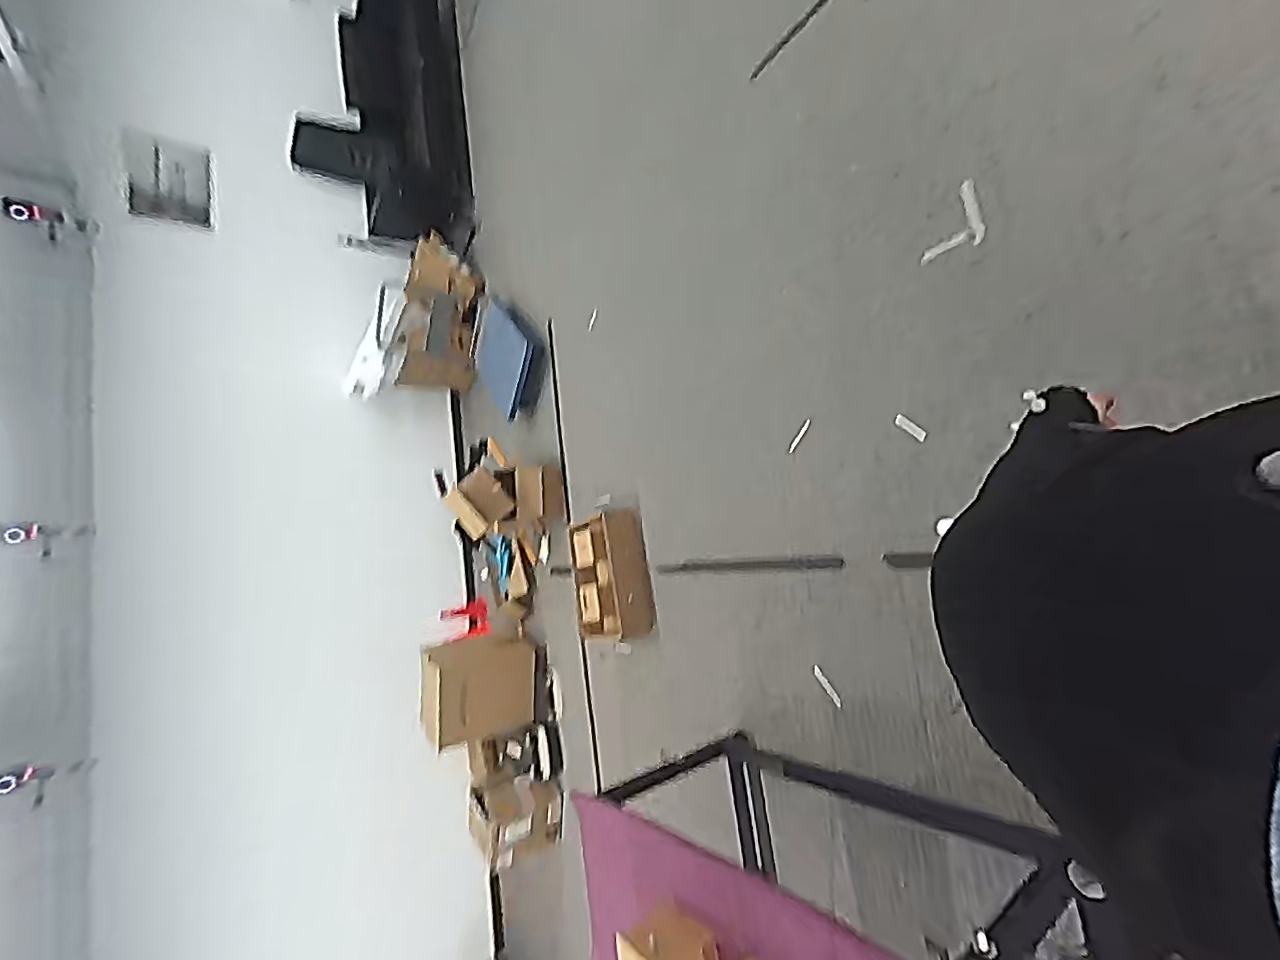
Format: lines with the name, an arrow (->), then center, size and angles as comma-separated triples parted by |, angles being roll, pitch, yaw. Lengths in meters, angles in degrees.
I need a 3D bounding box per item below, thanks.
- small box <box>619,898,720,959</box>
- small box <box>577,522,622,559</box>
small box -> 0.071, 1.126, 1.262 | 0.179, 0.176, 0.168 | -14, 80, 54
small box -> -0.203, 0.311, 2.788 | 0.179, 0.176, 0.168 | -22, 74, 54
